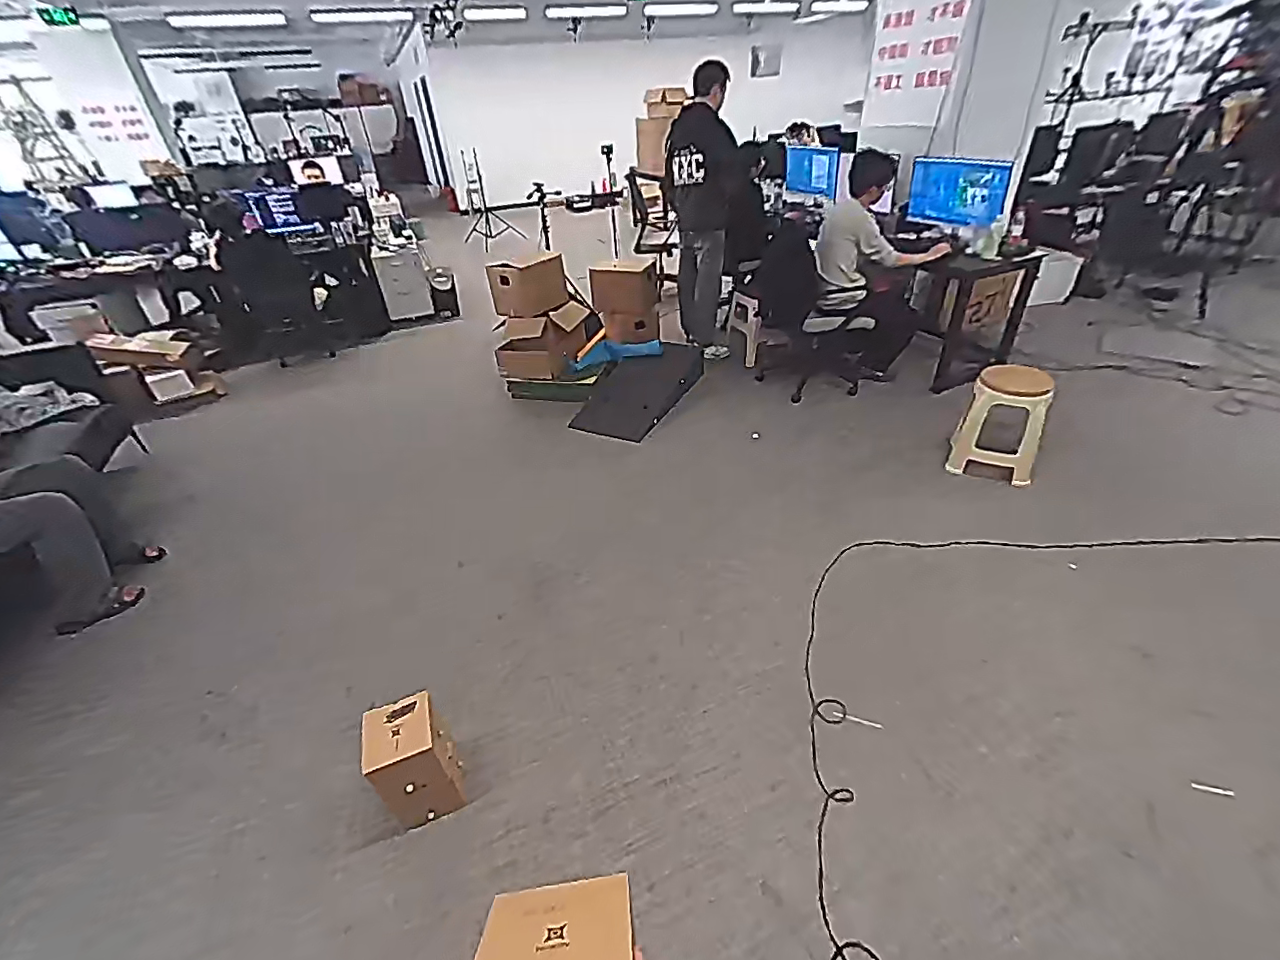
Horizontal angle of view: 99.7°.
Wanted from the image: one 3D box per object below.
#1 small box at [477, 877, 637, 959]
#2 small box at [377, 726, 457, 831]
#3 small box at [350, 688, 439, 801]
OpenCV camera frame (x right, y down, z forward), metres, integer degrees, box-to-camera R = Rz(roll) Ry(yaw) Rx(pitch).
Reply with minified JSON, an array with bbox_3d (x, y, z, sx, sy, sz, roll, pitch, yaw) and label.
[{"bbox_3d":[-0.080,0.573,0.568,0.168,0.176,0.179,-7,-5,-6],"label":"small box"},{"bbox_3d":[-0.622,0.833,1.511,0.179,0.176,0.168,-17,38,-18],"label":"small box"},{"bbox_3d":[-0.628,0.684,1.399,0.168,0.176,0.179,-16,37,-14],"label":"small box"}]
